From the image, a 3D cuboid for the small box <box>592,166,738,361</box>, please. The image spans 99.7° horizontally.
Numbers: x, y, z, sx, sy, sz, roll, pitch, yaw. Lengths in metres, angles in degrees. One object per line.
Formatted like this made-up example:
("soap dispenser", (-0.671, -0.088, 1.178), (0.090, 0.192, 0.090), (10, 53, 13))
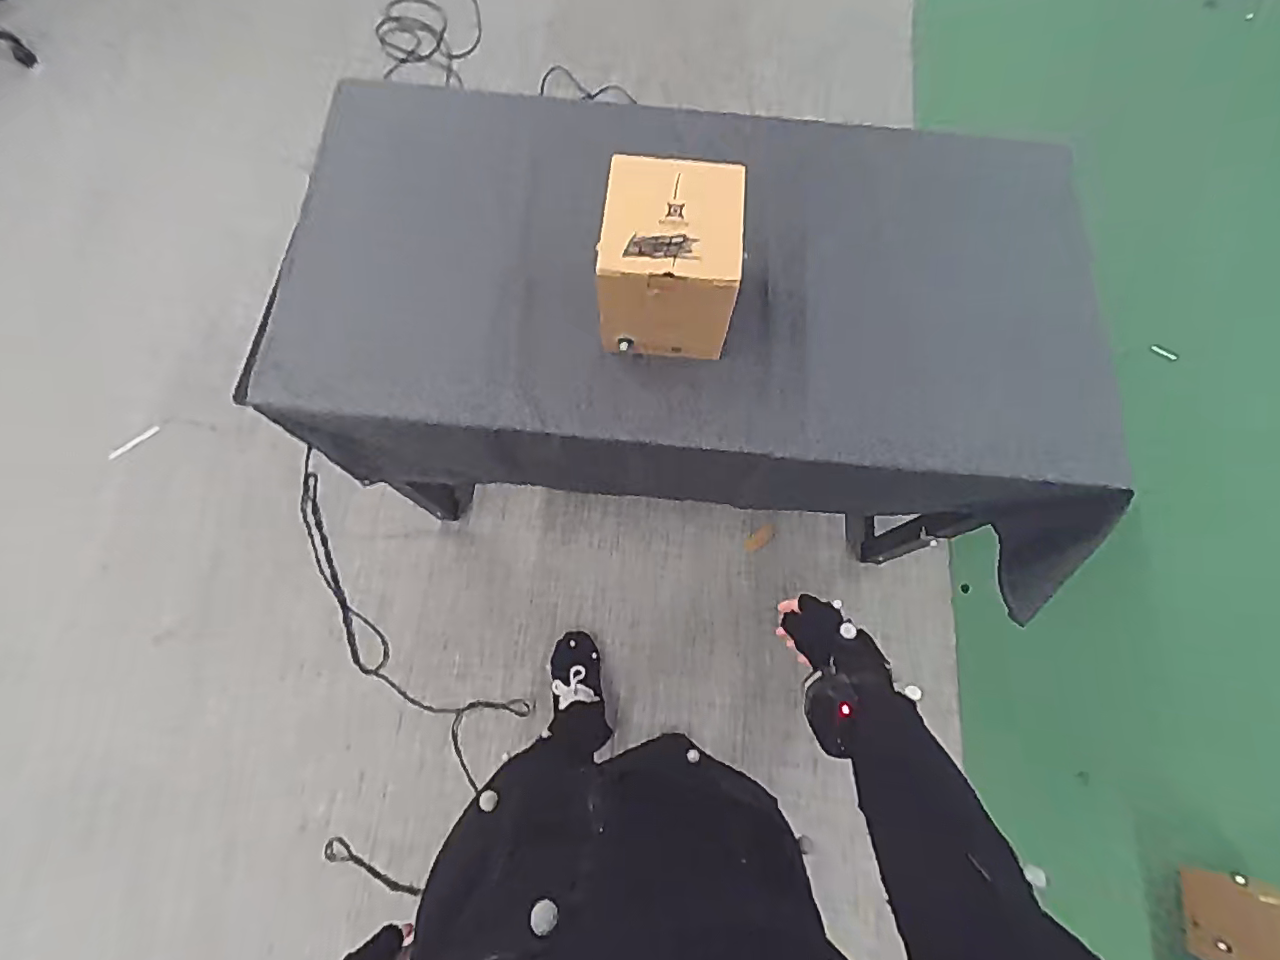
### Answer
("small box", (0.033, -0.277, 0.719), (0.168, 0.176, 0.179), (5, 71, 1))
